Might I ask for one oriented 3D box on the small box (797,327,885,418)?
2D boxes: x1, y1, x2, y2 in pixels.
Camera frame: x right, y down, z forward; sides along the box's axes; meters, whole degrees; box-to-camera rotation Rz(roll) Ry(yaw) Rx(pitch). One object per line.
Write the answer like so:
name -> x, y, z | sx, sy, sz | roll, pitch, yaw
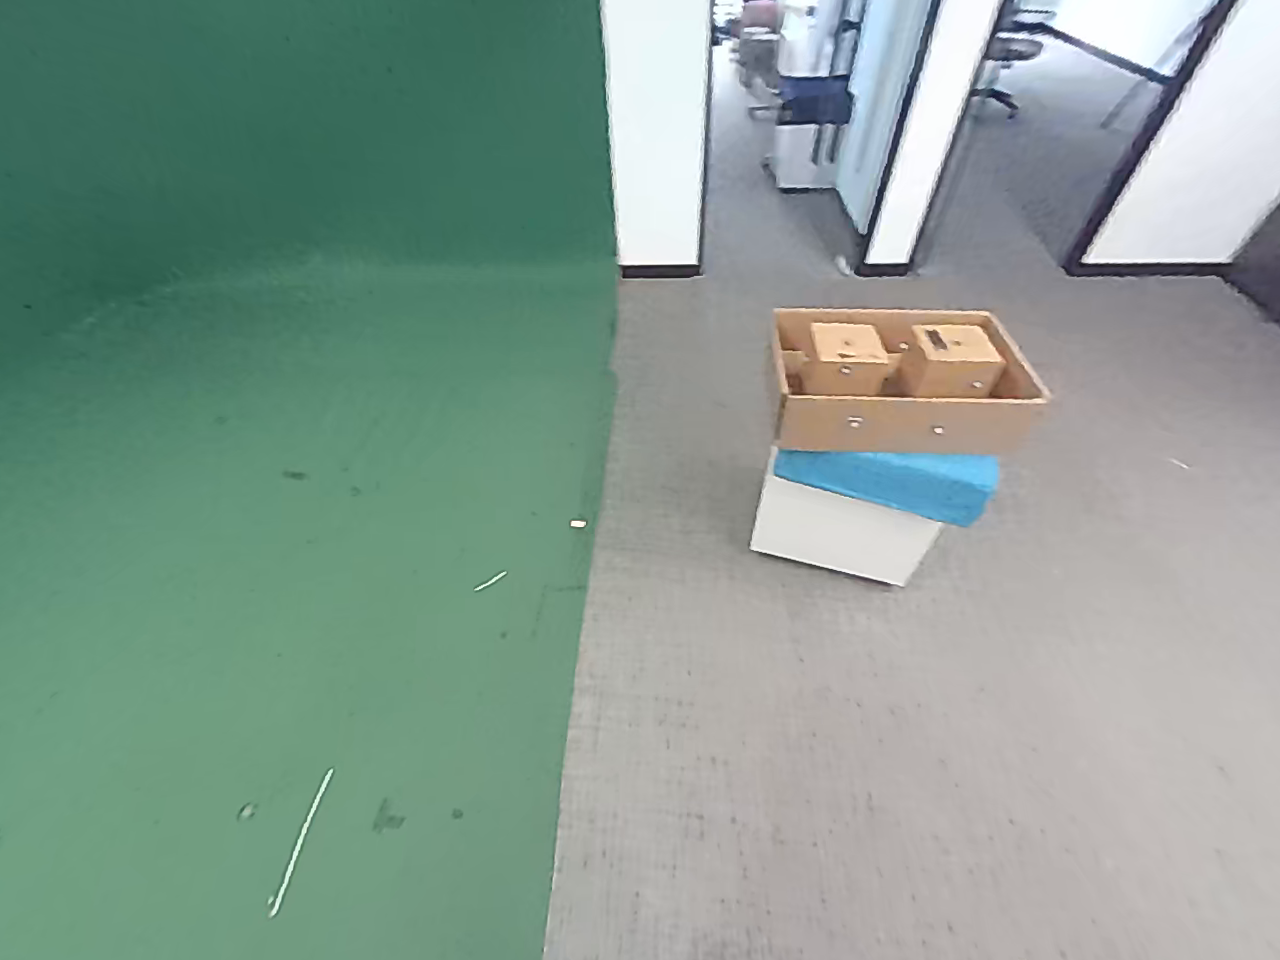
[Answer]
small box -> 0.523, -0.286, 1.435 | 0.168, 0.176, 0.179 | 2, 46, 3
